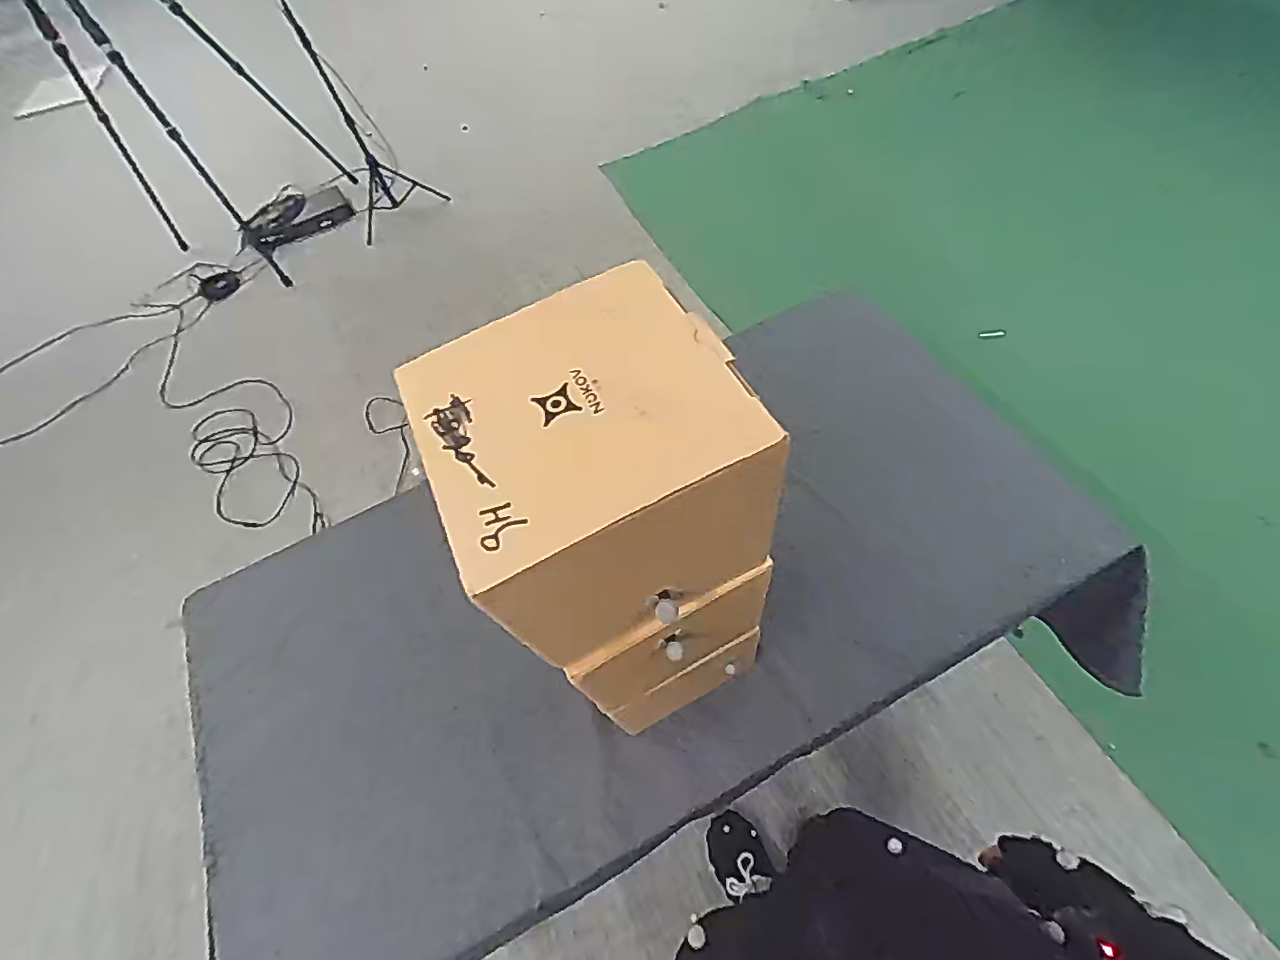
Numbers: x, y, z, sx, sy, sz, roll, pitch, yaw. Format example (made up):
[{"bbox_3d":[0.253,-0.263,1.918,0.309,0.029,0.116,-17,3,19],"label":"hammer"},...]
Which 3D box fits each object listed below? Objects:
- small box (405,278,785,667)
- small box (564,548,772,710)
[{"bbox_3d":[-0.027,0.003,0.373,0.179,0.176,0.168,-26,58,-8],"label":"small box"},{"bbox_3d":[-0.001,0.091,0.509,0.179,0.176,0.168,-28,59,-8],"label":"small box"}]
